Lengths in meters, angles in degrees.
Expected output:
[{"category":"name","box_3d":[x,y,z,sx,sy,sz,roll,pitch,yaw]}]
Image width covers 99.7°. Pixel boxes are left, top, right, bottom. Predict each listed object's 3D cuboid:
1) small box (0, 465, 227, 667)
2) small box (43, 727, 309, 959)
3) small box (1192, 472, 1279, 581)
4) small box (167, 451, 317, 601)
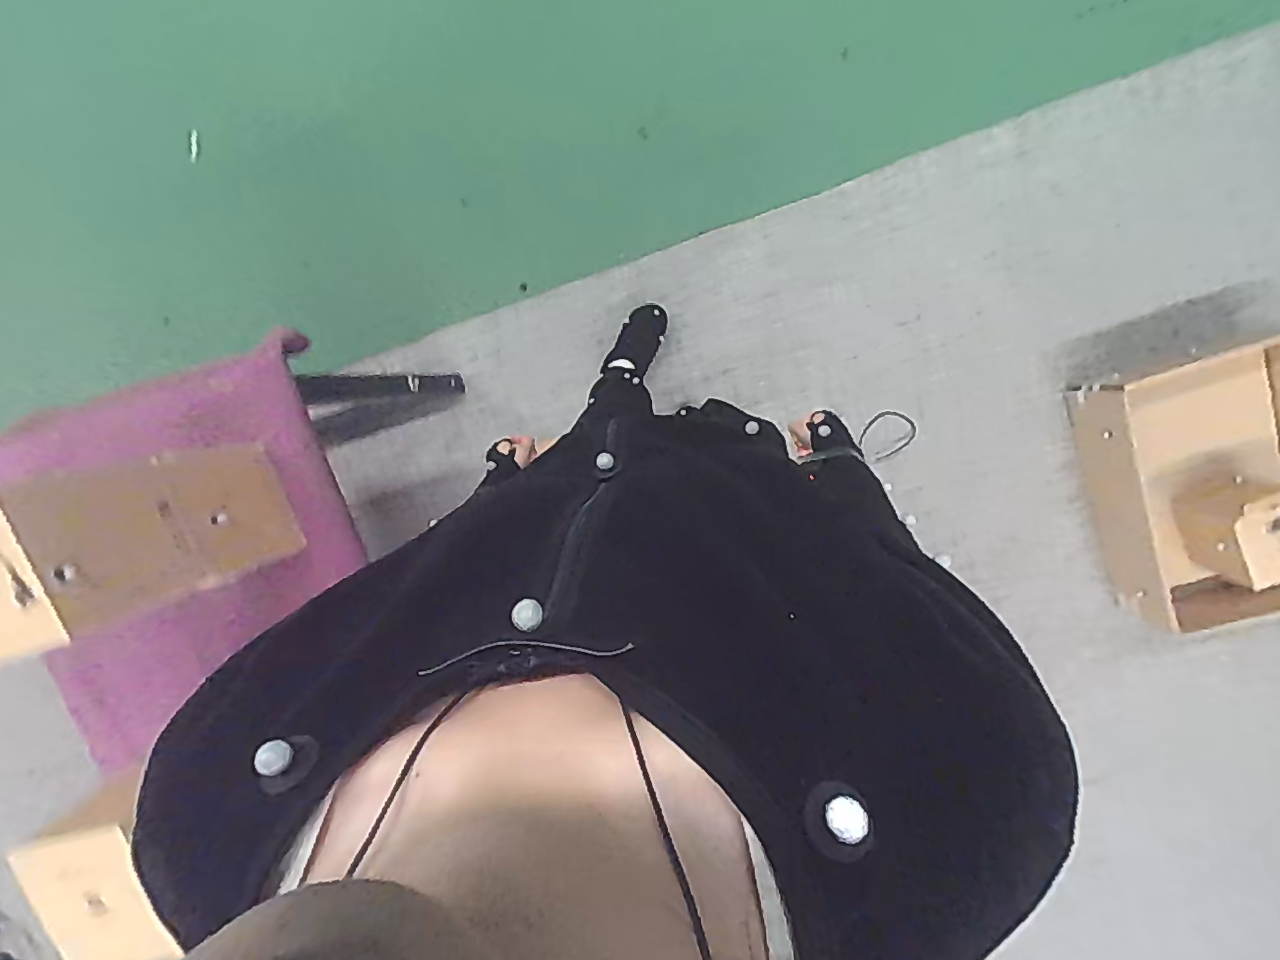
[{"category":"small box","box_3d":[-0.652,0.094,0.636,0.179,0.176,0.168,-17,100,11]},{"category":"small box","box_3d":[-0.574,0.456,0.696,0.168,0.176,0.179,-17,98,11]},{"category":"small box","box_3d":[1.409,0.094,1.208,0.168,0.176,0.179,-25,96,13]},{"category":"small box","box_3d":[-0.627,0.063,0.795,0.168,0.176,0.179,-18,100,10]}]
